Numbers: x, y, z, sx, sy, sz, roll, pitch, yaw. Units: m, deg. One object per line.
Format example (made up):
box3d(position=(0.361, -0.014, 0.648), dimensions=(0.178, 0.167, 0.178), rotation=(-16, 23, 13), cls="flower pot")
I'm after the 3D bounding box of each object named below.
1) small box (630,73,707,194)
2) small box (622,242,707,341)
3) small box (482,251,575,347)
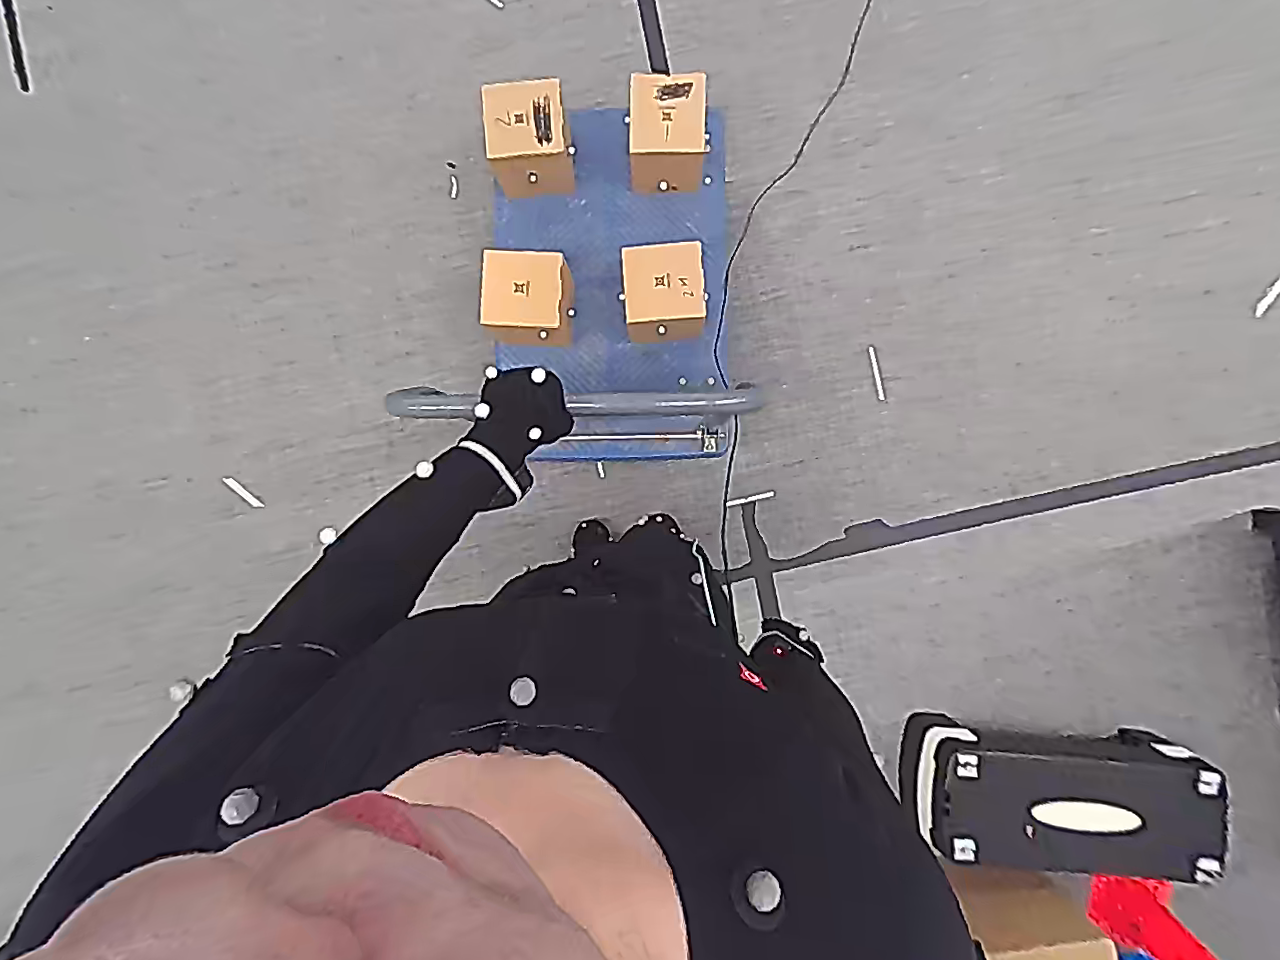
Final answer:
box3d(position=(0.063, -0.795, 1.251), dimensions=(0.168, 0.176, 0.179), rotation=(1, 90, 2), cls="small box")
box3d(position=(0.056, -0.425, 1.245), dimensions=(0.179, 0.176, 0.168), rotation=(-4, 89, 2), cls="small box")
box3d(position=(-0.253, -0.413, 1.255), dimensions=(0.179, 0.176, 0.168), rotation=(2, 89, 0), cls="small box")
